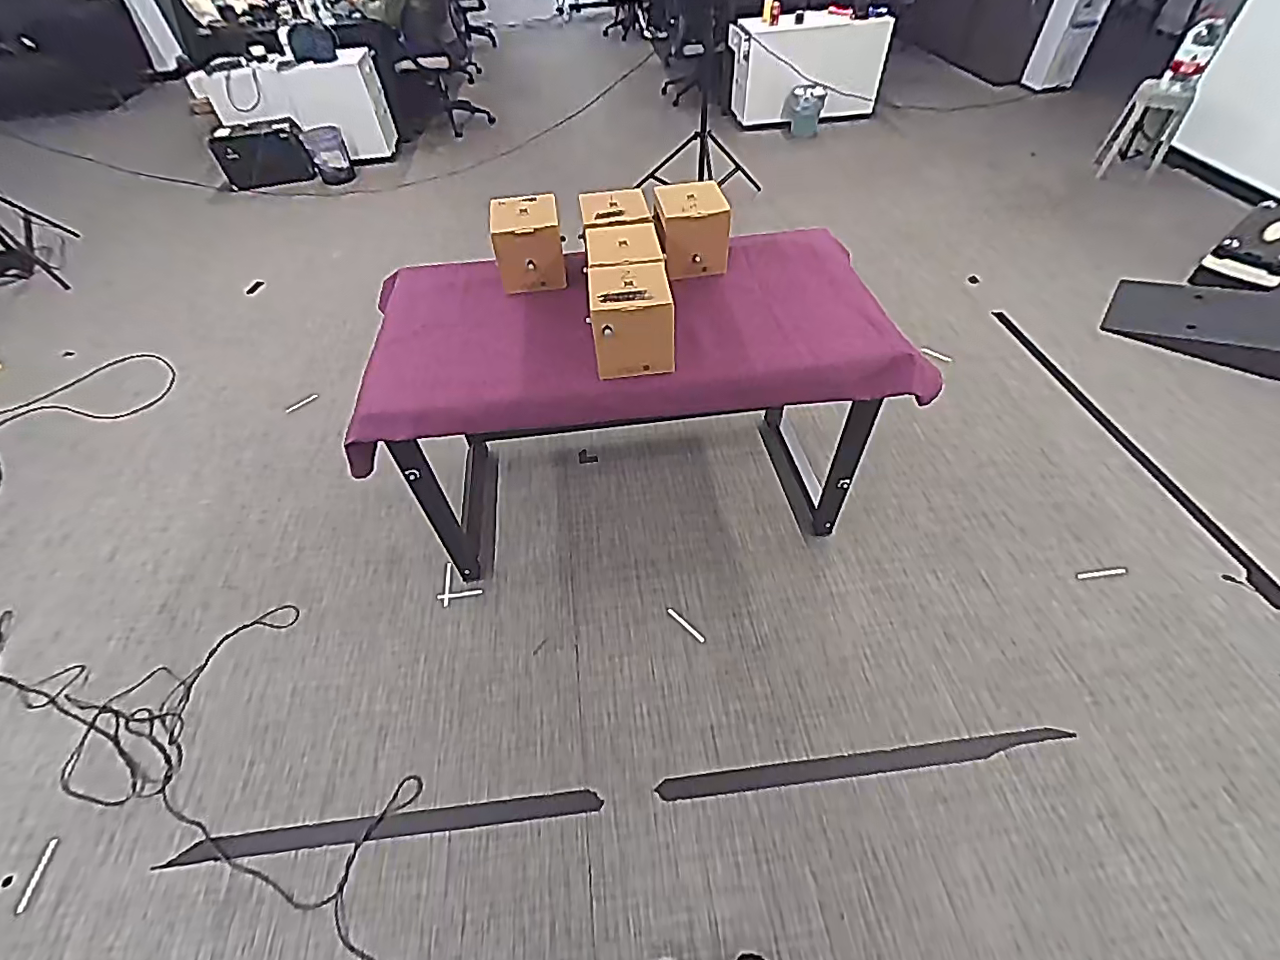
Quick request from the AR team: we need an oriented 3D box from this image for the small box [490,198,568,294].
[{"bbox_3d":[-0.284,-0.600,1.404,0.168,0.176,0.179,-8,53,-4],"label":"small box"}]
